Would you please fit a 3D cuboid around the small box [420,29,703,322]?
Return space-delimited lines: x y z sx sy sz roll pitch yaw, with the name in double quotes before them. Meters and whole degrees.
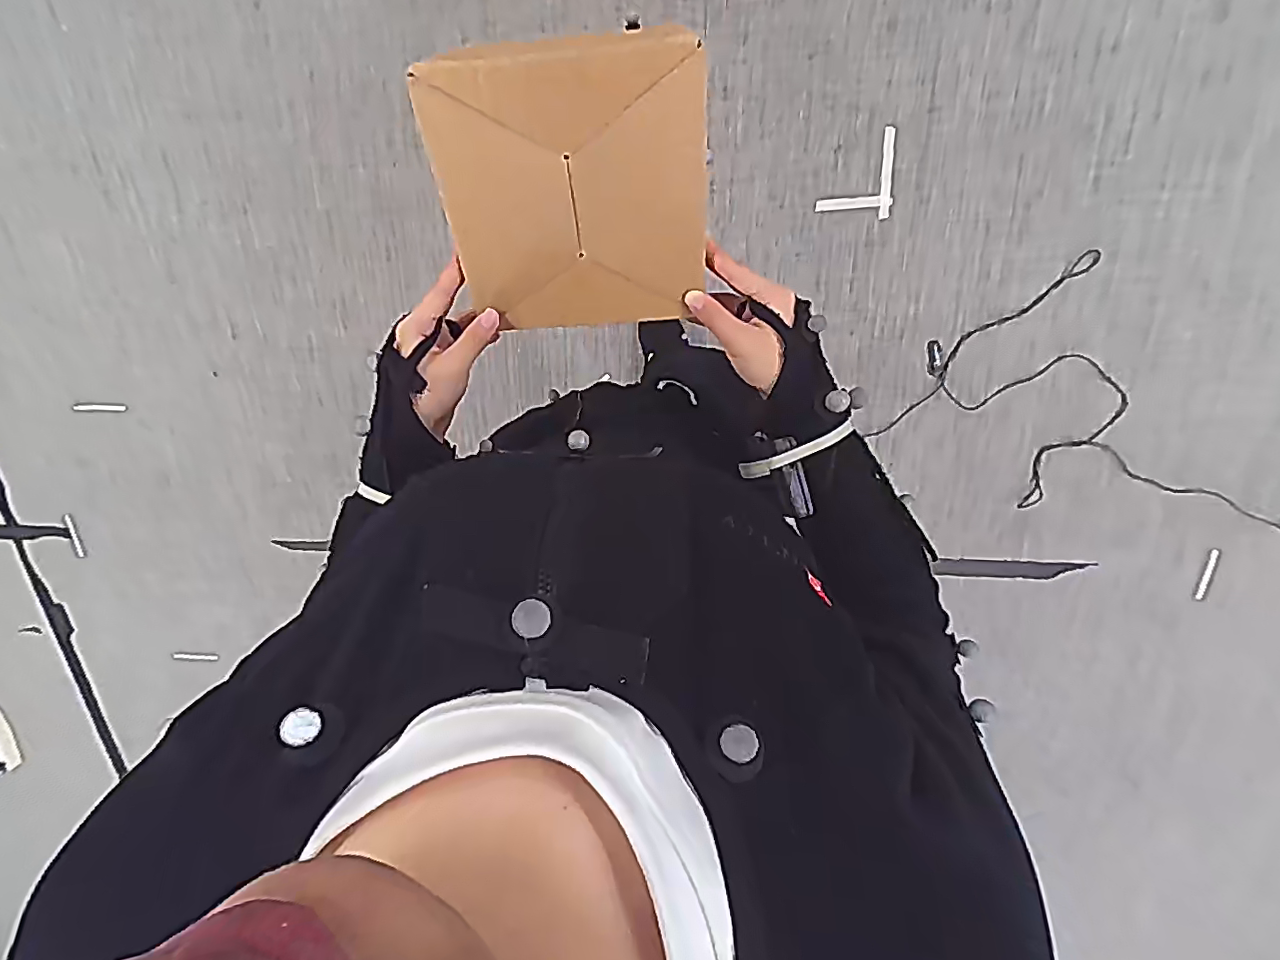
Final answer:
"small box" -0.046 -0.238 0.424 0.179 0.176 0.168 -3 133 3
